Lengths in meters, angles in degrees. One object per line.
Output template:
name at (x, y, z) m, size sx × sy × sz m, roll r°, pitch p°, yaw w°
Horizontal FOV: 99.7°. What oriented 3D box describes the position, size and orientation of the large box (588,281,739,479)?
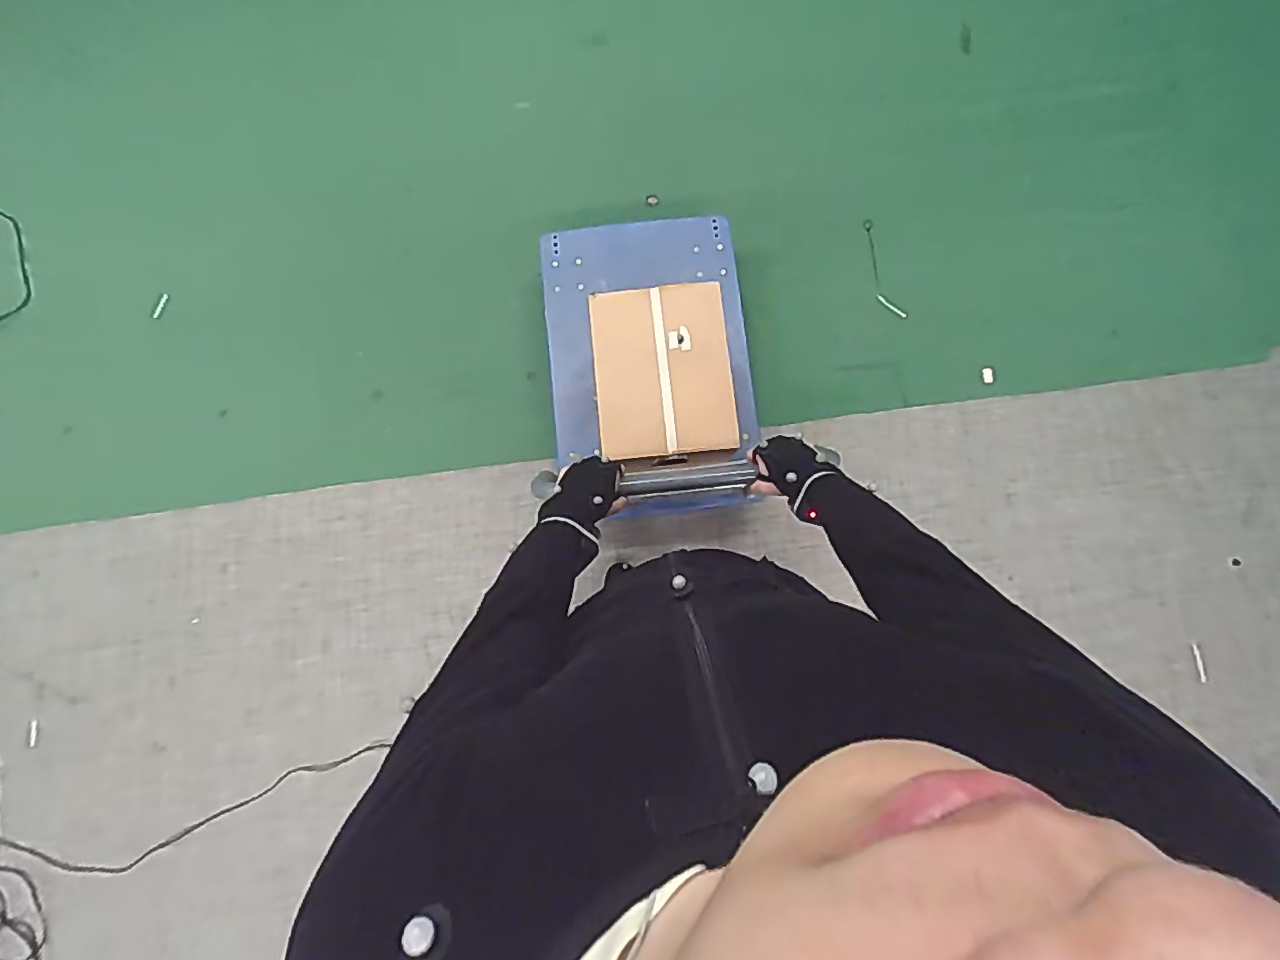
large box at (0.055, -0.236, 1.393) m, size 0.320 × 0.320 × 0.408 m, roll -6°, pitch 81°, yaw 0°
